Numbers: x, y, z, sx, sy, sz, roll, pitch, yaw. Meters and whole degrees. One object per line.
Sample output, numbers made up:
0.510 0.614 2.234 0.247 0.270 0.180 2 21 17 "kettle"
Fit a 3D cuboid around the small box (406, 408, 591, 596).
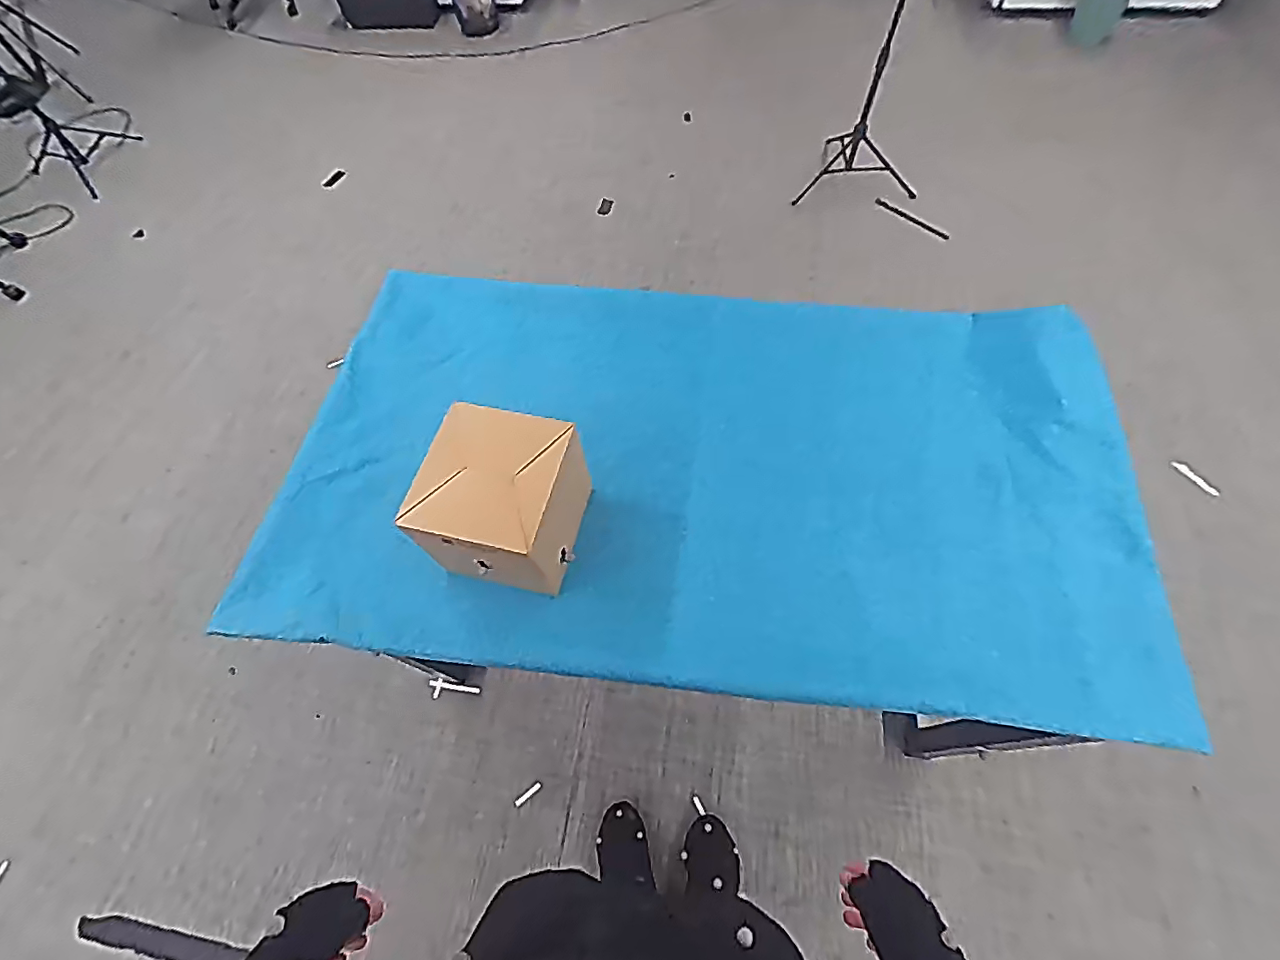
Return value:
-0.174 0.032 0.711 0.168 0.176 0.179 11 63 8 "small box"
